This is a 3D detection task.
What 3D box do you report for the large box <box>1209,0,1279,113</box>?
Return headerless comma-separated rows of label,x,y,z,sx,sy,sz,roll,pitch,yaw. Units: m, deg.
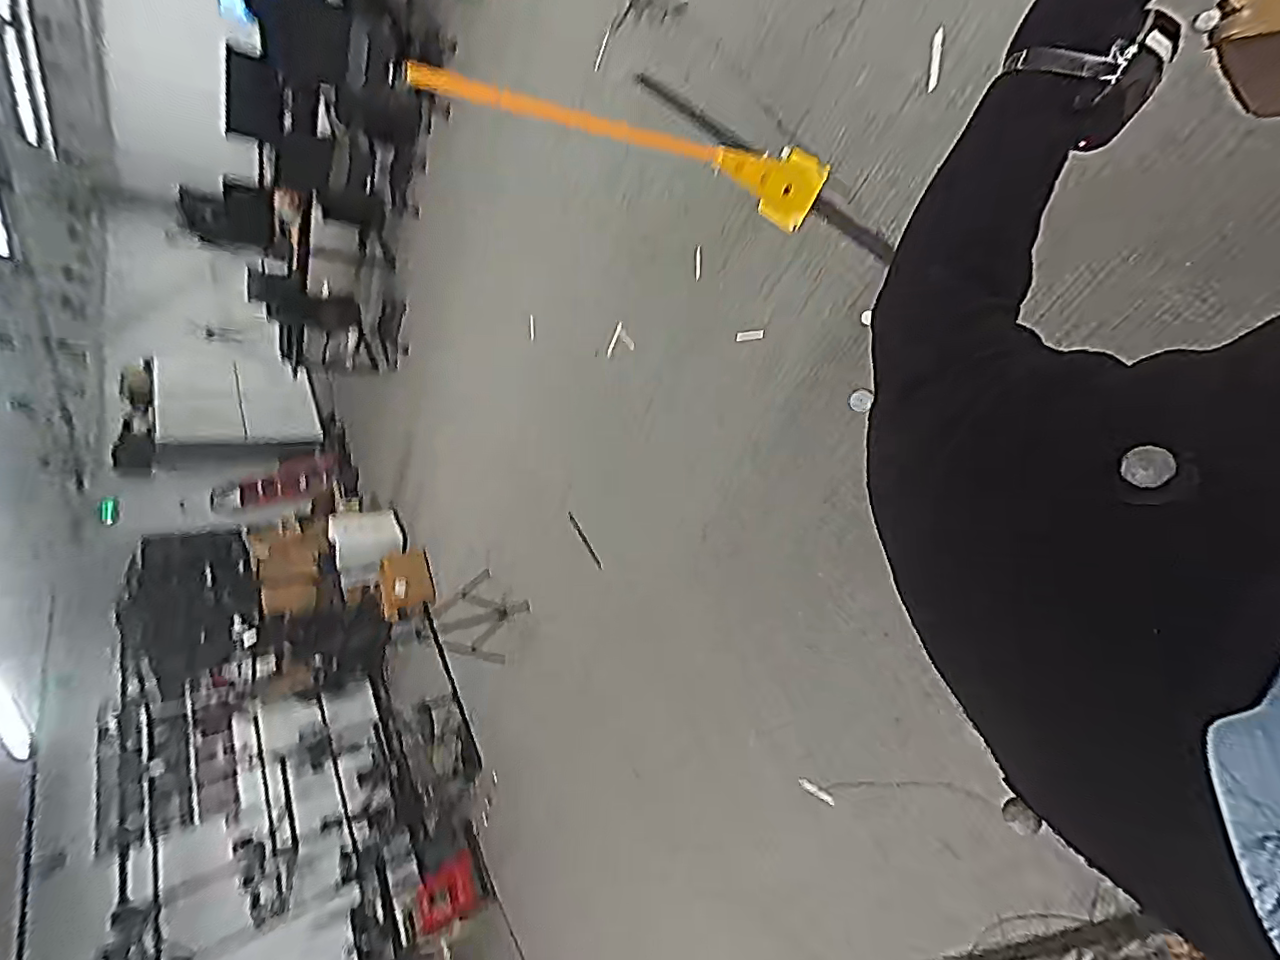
large box,0.612,-0.406,0.243,0.408,0.320,0.320,24,121,46
